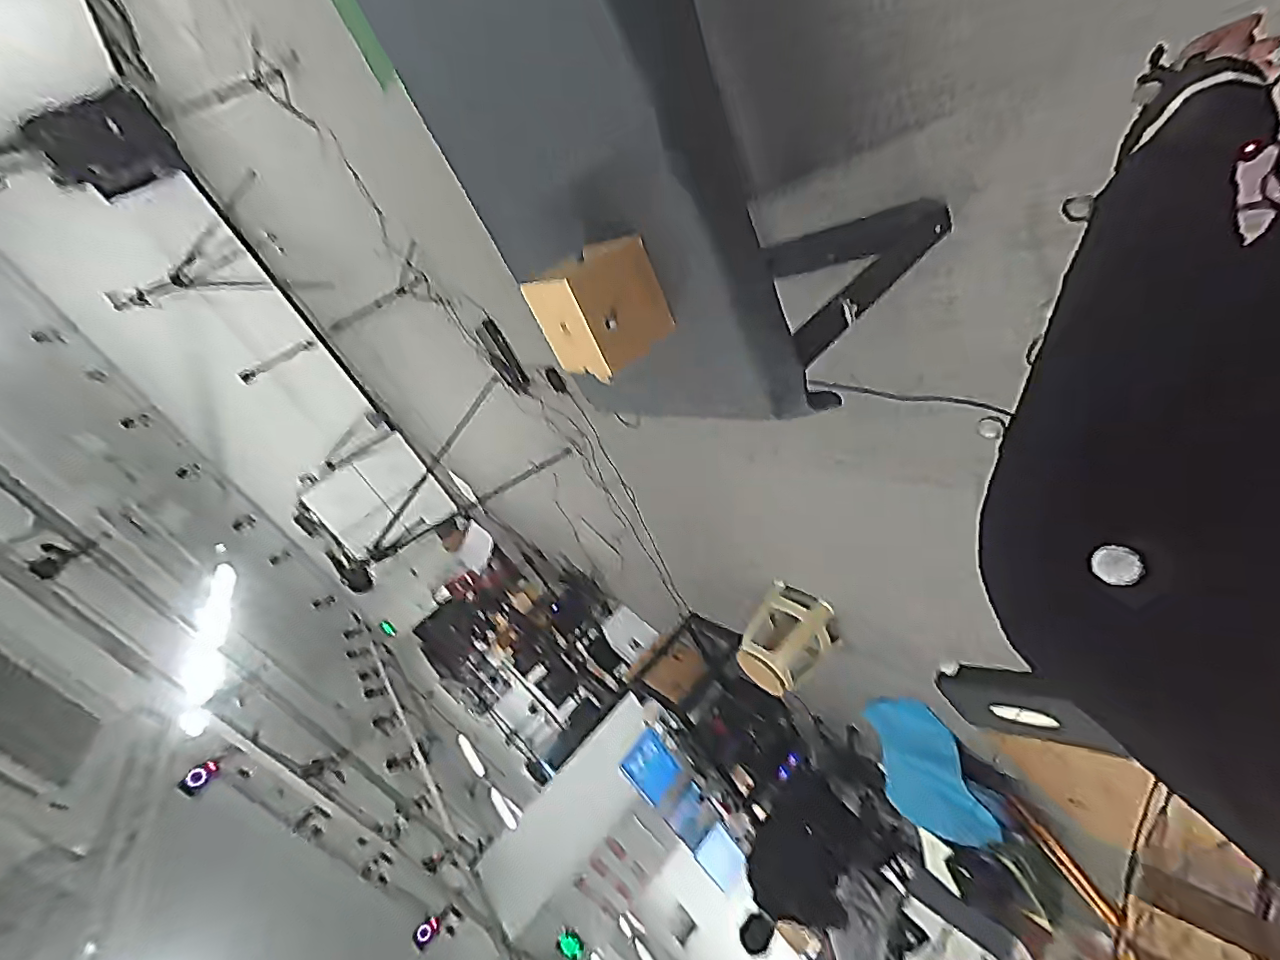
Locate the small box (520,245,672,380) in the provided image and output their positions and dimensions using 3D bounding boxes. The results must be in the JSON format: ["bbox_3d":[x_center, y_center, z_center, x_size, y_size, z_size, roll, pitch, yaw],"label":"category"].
[{"bbox_3d":[-0.074,-0.299,0.961,0.168,0.176,0.179,17,141,49],"label":"small box"}]
